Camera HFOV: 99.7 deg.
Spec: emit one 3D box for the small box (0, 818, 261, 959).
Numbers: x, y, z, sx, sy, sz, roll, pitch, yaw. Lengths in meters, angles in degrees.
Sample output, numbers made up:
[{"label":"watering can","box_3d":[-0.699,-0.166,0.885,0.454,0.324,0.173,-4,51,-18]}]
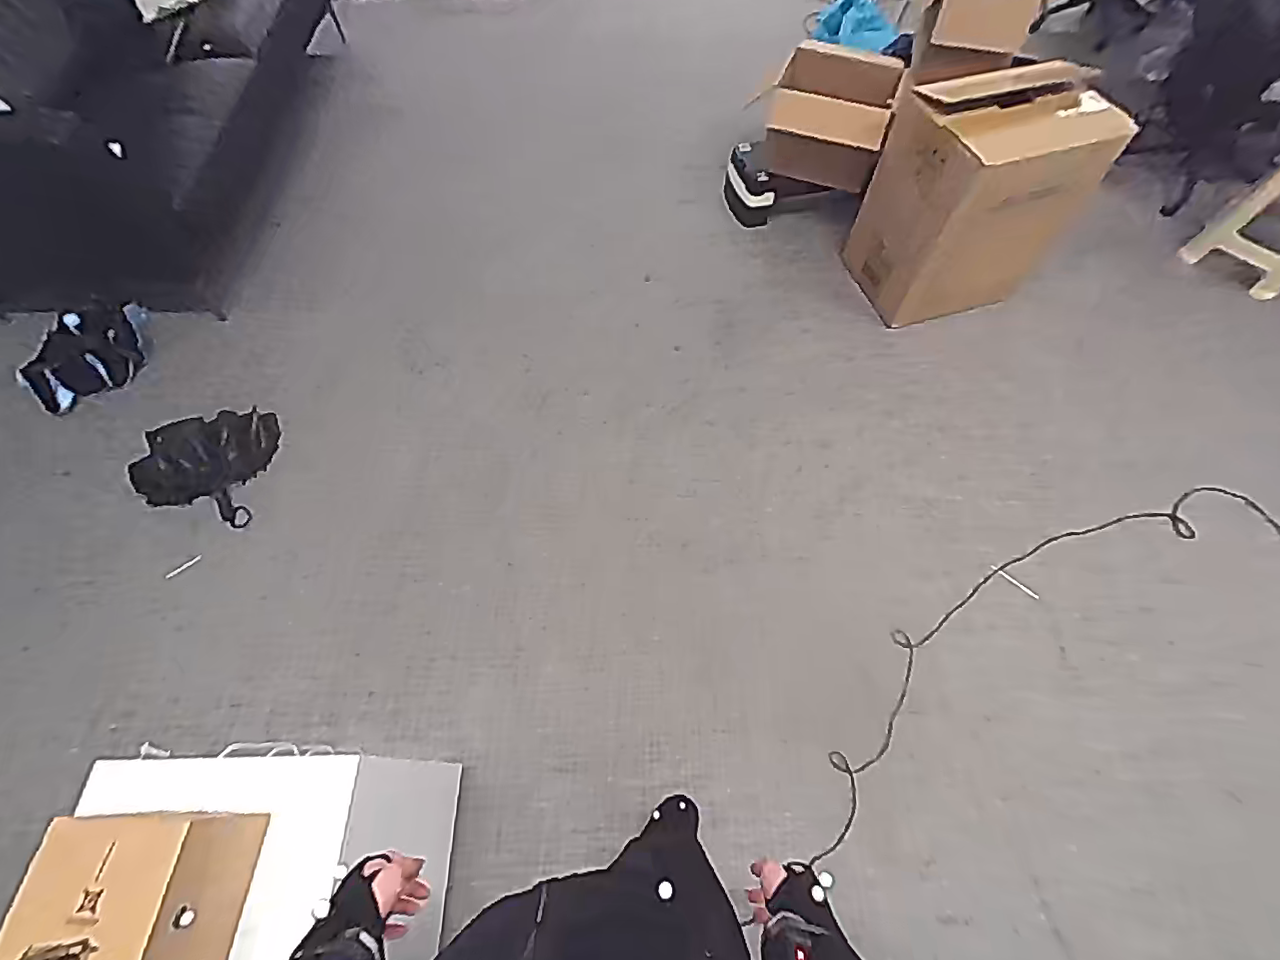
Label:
[{"label":"small box","box_3d":[-0.614,0.525,0.662,0.168,0.176,0.179,1,60,0]}]
